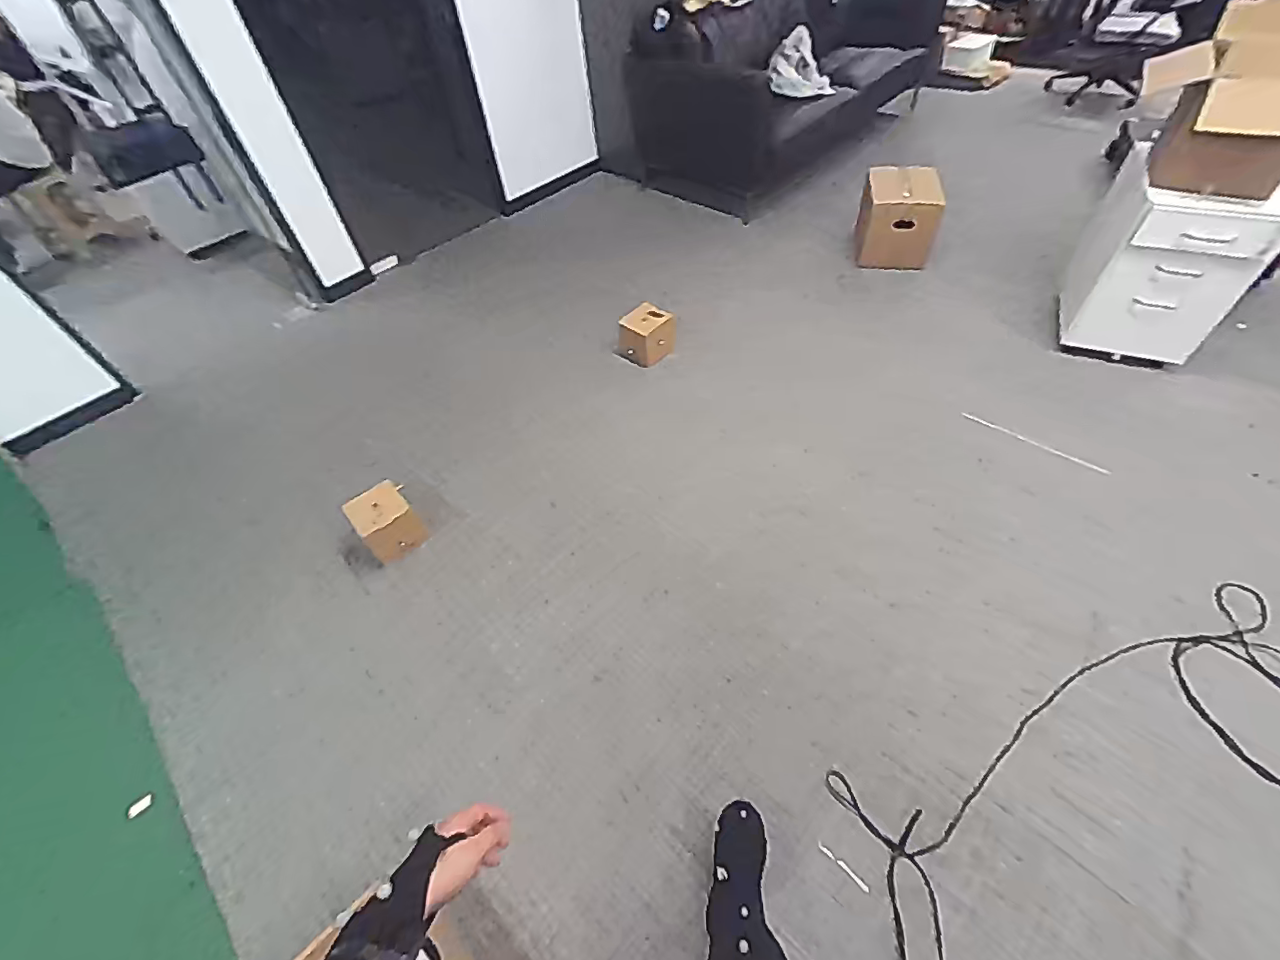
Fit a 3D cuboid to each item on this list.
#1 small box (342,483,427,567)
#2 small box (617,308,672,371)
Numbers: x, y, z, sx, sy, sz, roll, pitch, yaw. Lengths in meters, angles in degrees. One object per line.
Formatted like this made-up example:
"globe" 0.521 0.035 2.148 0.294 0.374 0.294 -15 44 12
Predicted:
"small box" -0.834 0.151 1.773 0.168 0.176 0.179 -36 56 -22
"small box" 0.020 -0.604 2.335 0.168 0.176 0.179 35 61 29
